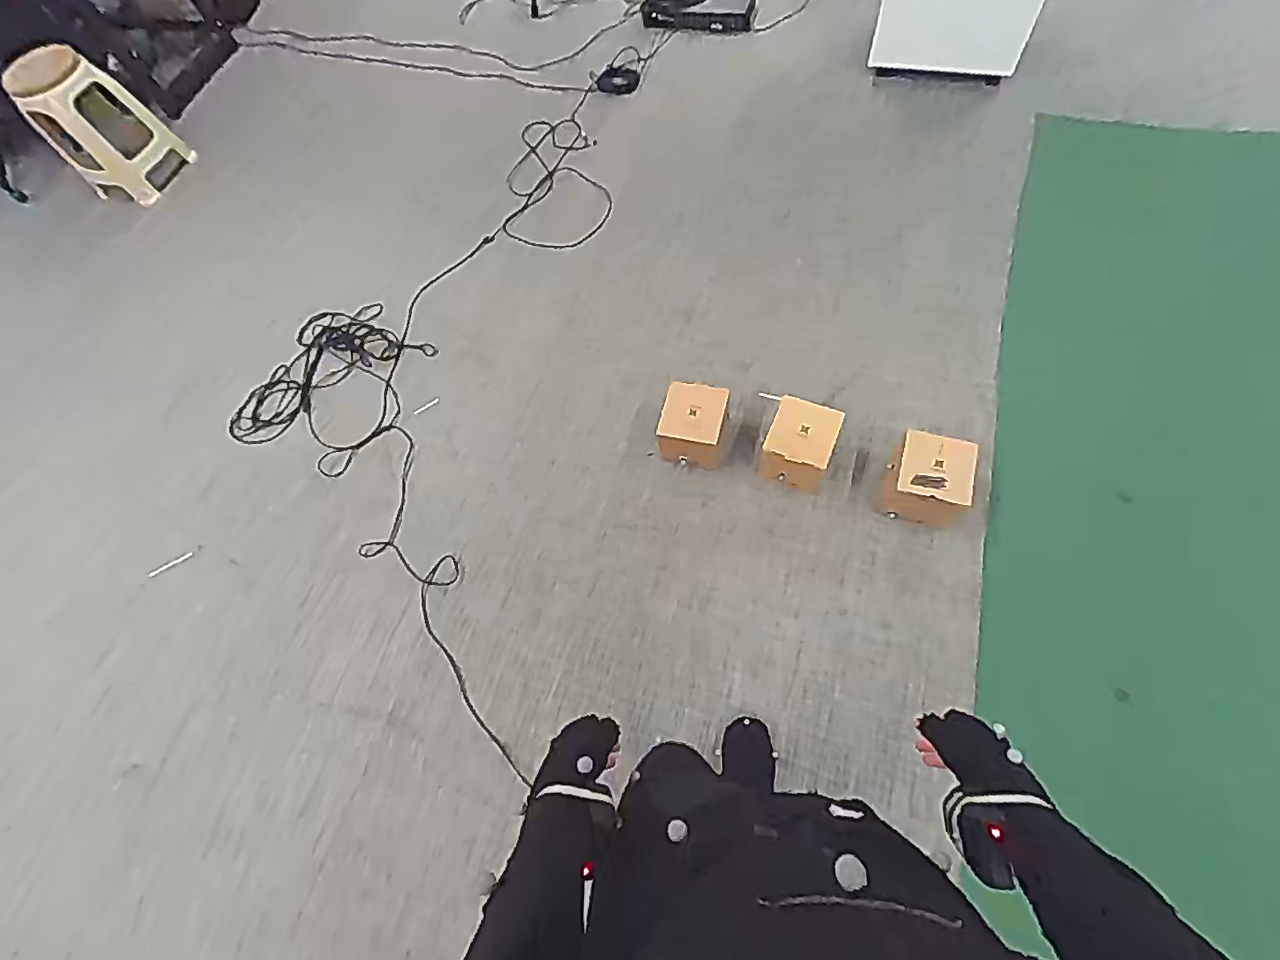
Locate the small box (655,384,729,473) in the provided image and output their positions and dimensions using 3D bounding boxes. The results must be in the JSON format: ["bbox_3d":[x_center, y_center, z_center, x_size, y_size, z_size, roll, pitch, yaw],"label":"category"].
[{"bbox_3d":[0.150,-0.142,1.517,0.168,0.176,0.179,11,69,14],"label":"small box"}]

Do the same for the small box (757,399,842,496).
[{"bbox_3d":[0.422,-0.084,1.457,0.168,0.176,0.179,20,71,15],"label":"small box"}]

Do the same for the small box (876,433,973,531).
[{"bbox_3d":[0.717,0.011,1.378,0.168,0.176,0.179,16,68,13],"label":"small box"}]
